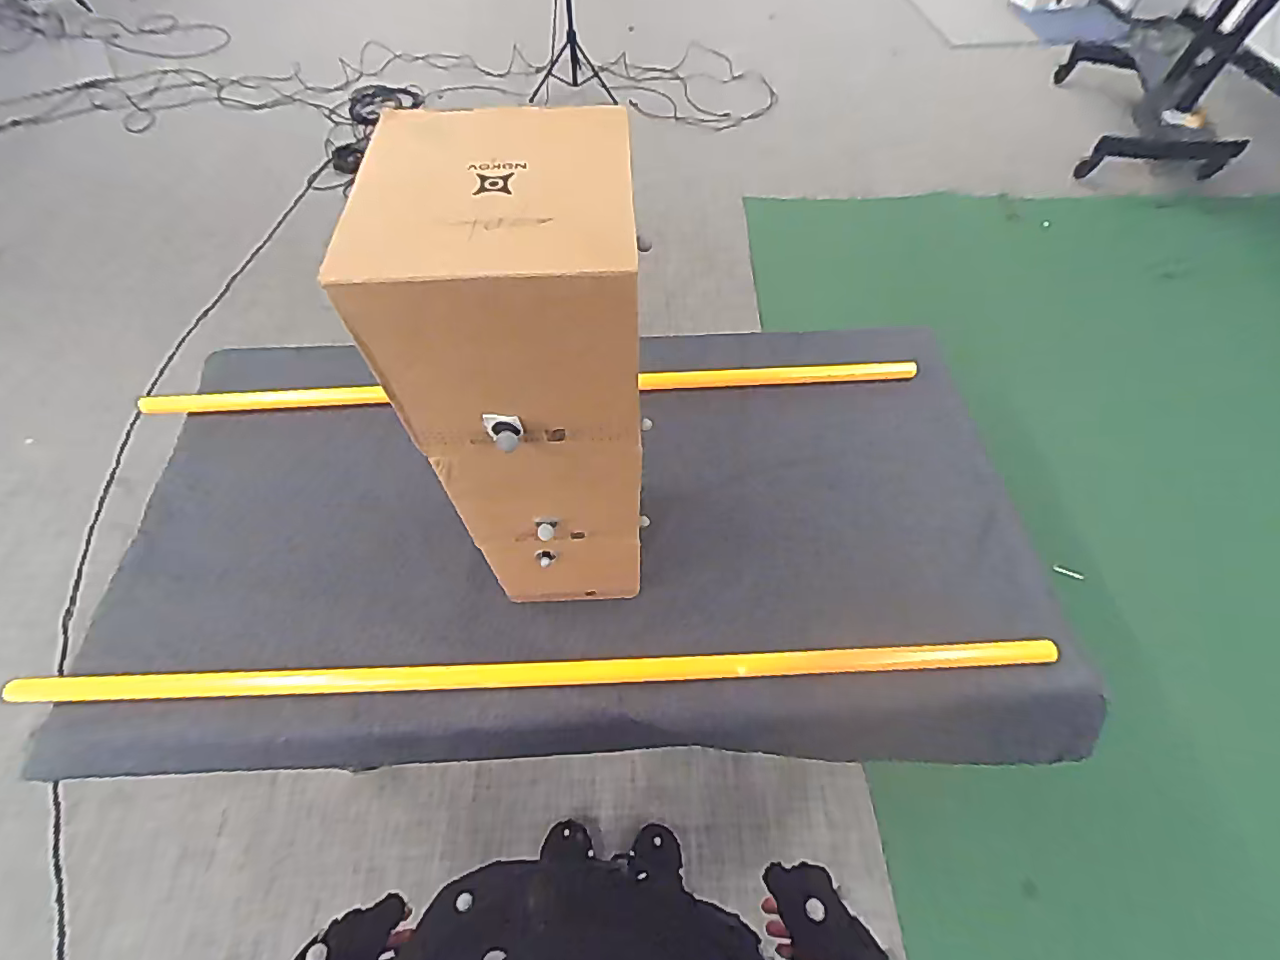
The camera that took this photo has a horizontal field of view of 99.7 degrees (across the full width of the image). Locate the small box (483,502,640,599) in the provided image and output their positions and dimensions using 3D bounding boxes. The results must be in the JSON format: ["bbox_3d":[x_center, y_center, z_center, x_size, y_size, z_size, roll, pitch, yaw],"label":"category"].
[{"bbox_3d":[-0.086,0.035,0.676,0.168,0.176,0.179,-2,58,-1],"label":"small box"}]

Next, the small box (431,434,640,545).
[{"bbox_3d":[-0.088,-0.051,0.536,0.168,0.176,0.179,-2,59,-2],"label":"small box"}]

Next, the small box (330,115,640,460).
[{"bbox_3d":[-0.087,-0.133,0.398,0.168,0.176,0.179,-4,60,-1],"label":"small box"}]
